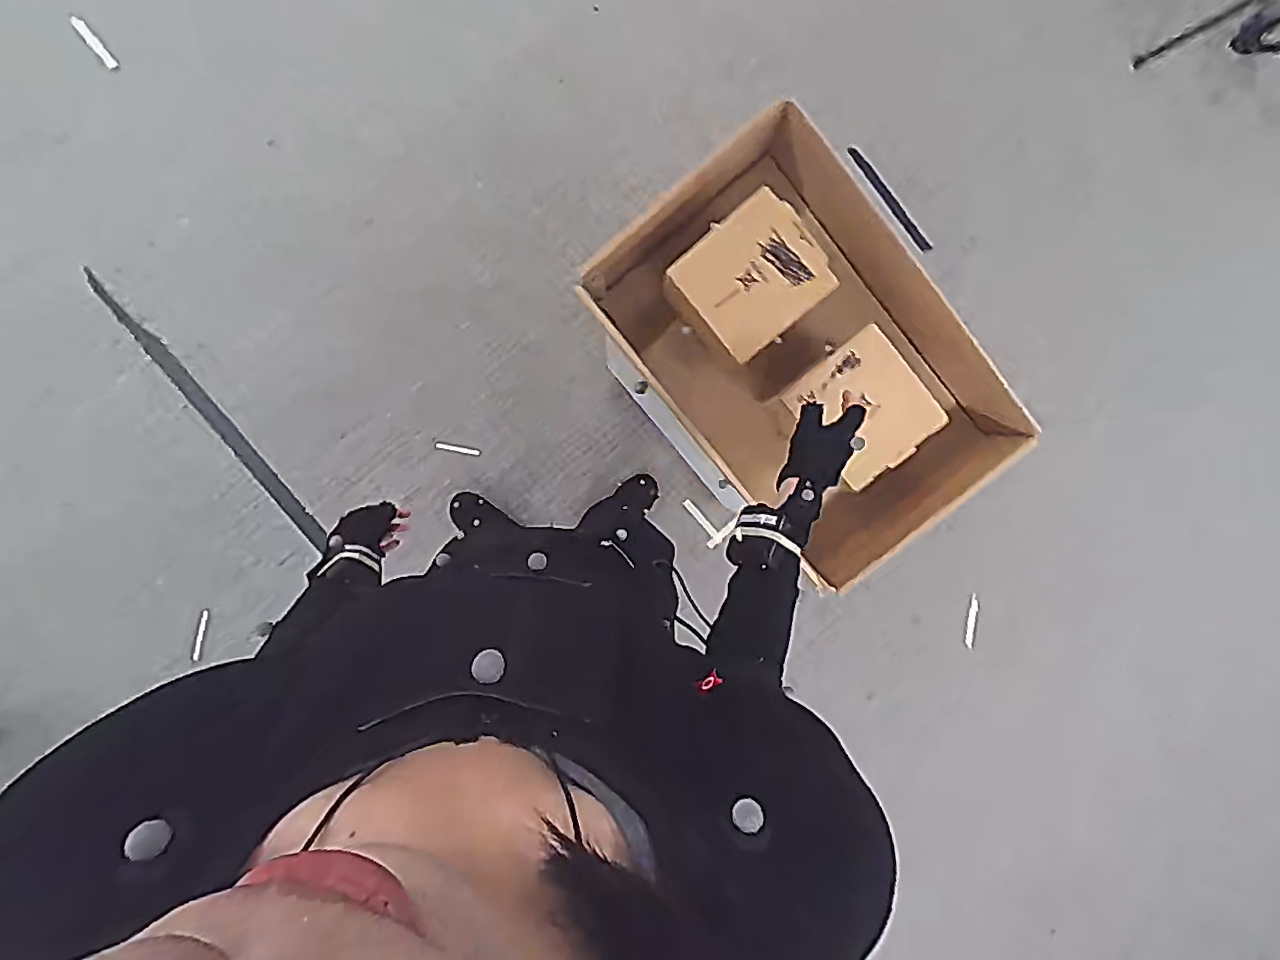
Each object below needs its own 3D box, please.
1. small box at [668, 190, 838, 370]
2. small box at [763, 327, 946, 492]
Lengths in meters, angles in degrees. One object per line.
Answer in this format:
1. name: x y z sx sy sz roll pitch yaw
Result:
1. small box: 0.156 -0.286 0.815 0.179 0.176 0.168 -39 95 5
2. small box: 0.317 -0.106 0.836 0.168 0.176 0.179 -39 94 4
